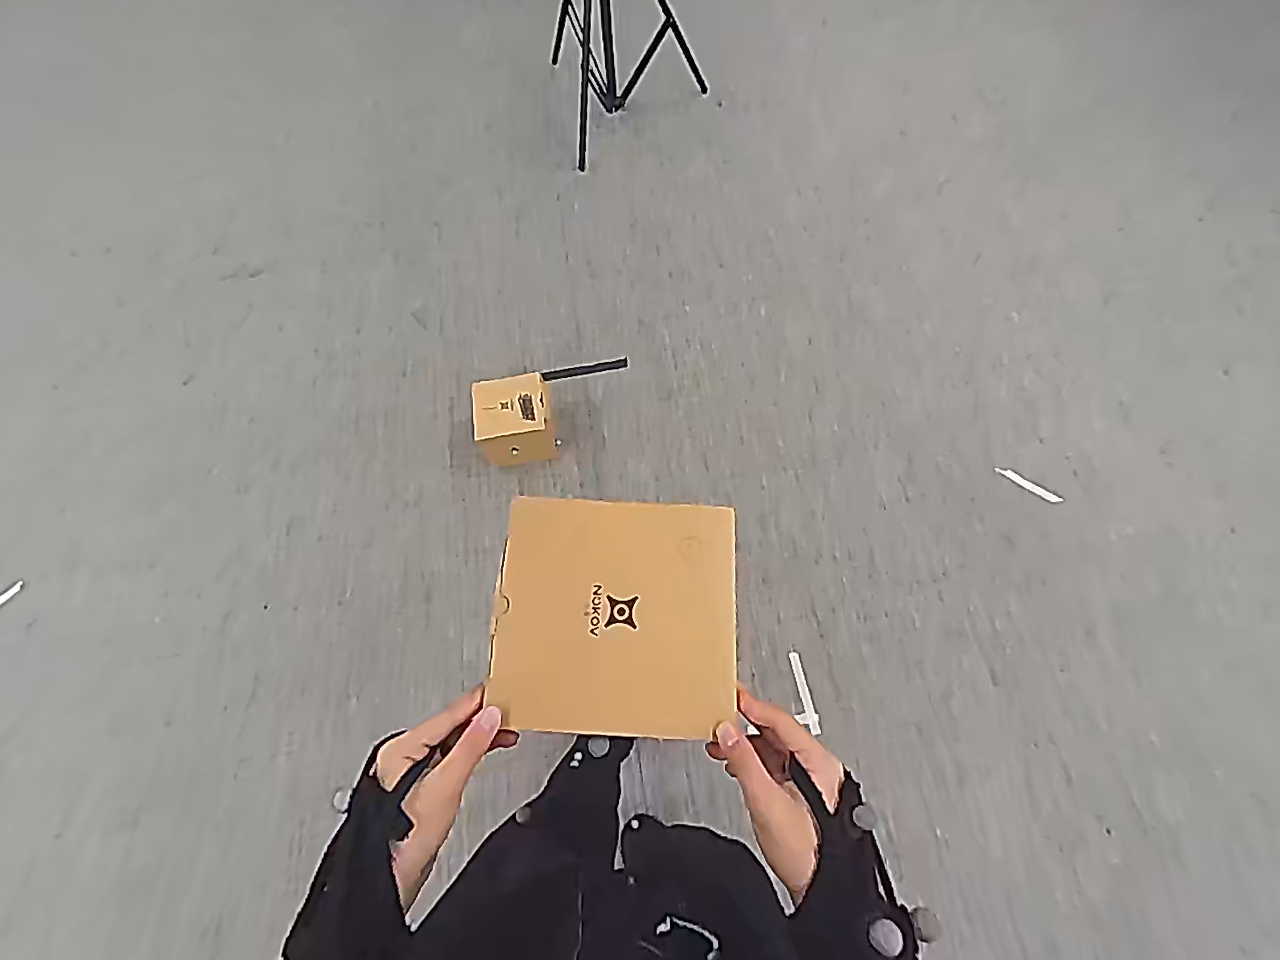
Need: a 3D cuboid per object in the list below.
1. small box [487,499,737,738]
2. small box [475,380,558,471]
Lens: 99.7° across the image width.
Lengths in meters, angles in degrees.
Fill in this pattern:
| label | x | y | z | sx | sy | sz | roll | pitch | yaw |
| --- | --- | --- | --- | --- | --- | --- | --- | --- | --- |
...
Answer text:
| label | x | y | z | sx | sy | sz | roll | pitch | yaw |
| --- | --- | --- | --- | --- | --- | --- | --- | --- | --- |
| small box | -0.015 | 0.121 | 0.474 | 0.179 | 0.176 | 0.168 | 2 | 71 | 3 |
| small box | -0.316 | -0.137 | 1.408 | 0.179 | 0.176 | 0.168 | -9 | 67 | 0 |
